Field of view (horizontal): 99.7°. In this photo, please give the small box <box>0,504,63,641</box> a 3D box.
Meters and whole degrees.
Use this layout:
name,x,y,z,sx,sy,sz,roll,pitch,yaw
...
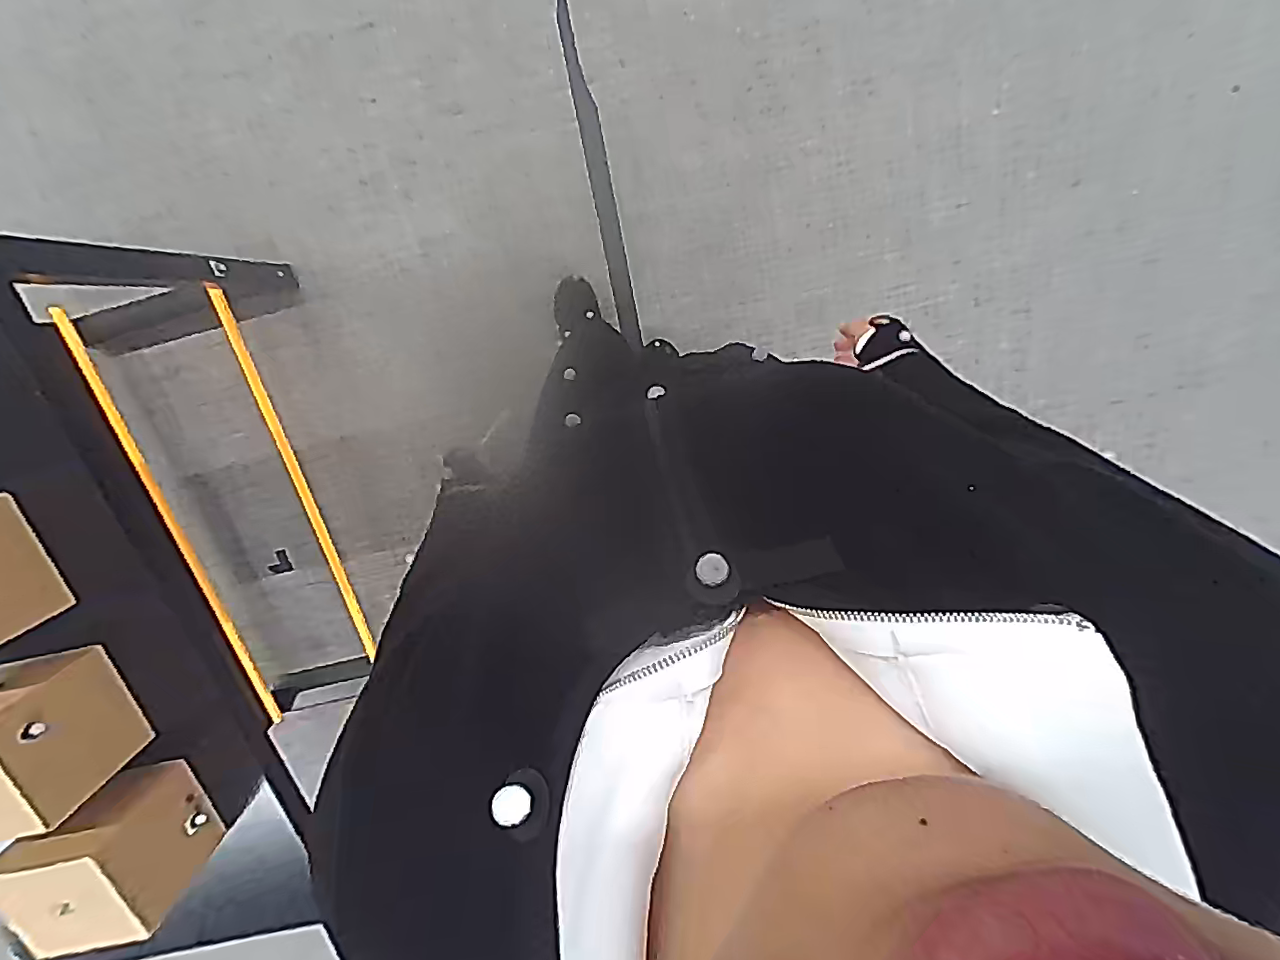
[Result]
name,x,y,z,sx,sy,sz,roll,pitch,yaw
small box,-0.903,0.141,0.671,0.168,0.176,0.179,-12,107,2

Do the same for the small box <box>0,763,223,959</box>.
name,x,y,z,sx,sy,sz,roll,pitch,yaw
small box,-0.795,0.566,0.815,0.179,0.176,0.168,-13,109,2
